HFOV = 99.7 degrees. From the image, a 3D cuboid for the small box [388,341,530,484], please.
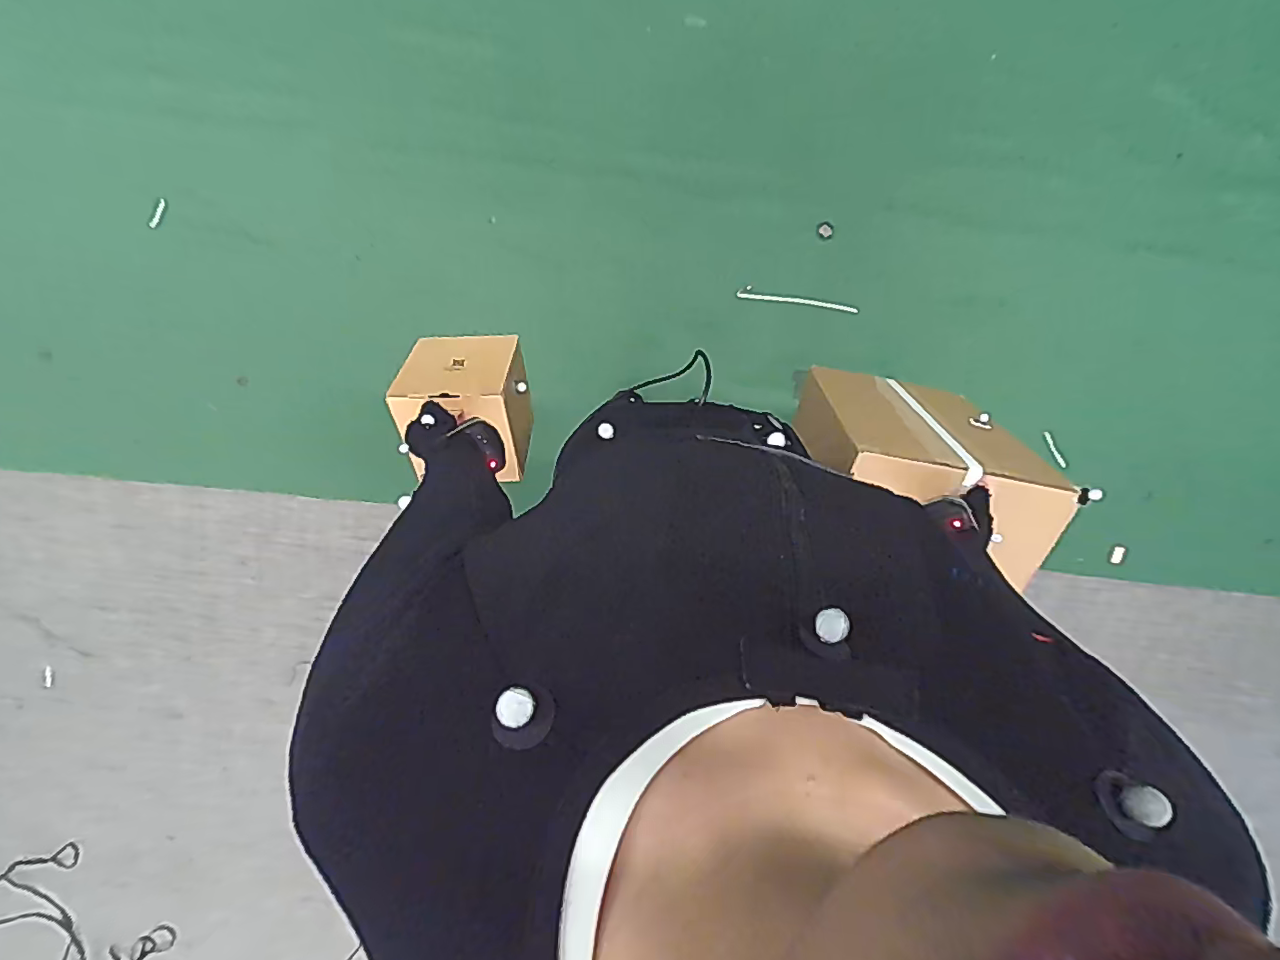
[{"bbox_3d":[-0.279,-0.111,0.883,0.168,0.179,0.176,-1,133,0],"label":"small box"}]
